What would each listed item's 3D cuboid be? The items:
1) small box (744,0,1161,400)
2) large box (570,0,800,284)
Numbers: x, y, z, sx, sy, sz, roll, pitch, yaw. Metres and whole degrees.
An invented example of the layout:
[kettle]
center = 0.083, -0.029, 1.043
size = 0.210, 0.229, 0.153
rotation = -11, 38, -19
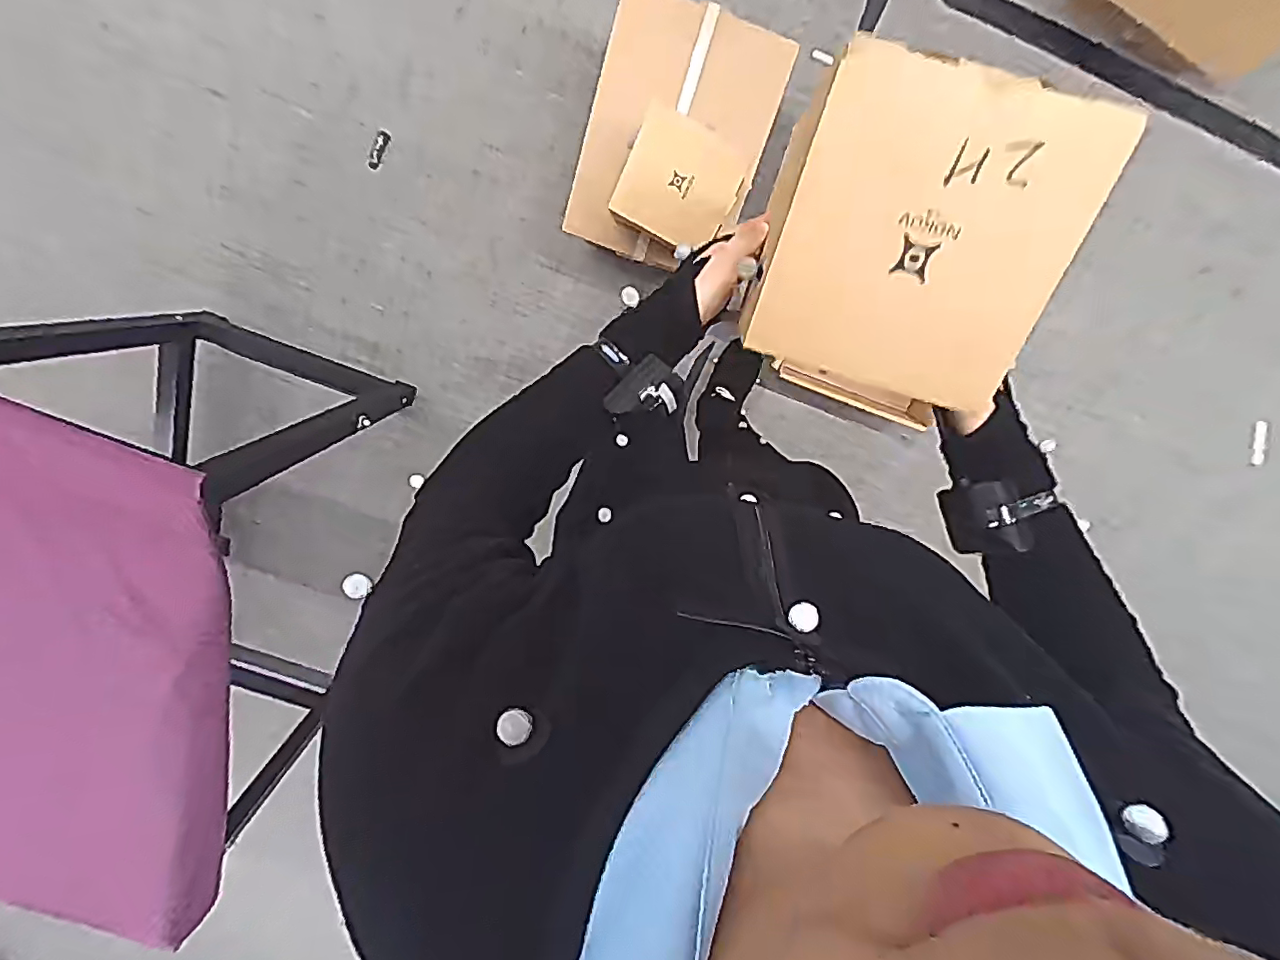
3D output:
[small box]
center = 0.180, -0.181, 0.385
size = 0.168, 0.176, 0.179
rotation = 17, 114, 1
[large box]
center = 0.075, -0.655, 1.097
size = 0.320, 0.320, 0.408
rotation = 18, 112, -3
